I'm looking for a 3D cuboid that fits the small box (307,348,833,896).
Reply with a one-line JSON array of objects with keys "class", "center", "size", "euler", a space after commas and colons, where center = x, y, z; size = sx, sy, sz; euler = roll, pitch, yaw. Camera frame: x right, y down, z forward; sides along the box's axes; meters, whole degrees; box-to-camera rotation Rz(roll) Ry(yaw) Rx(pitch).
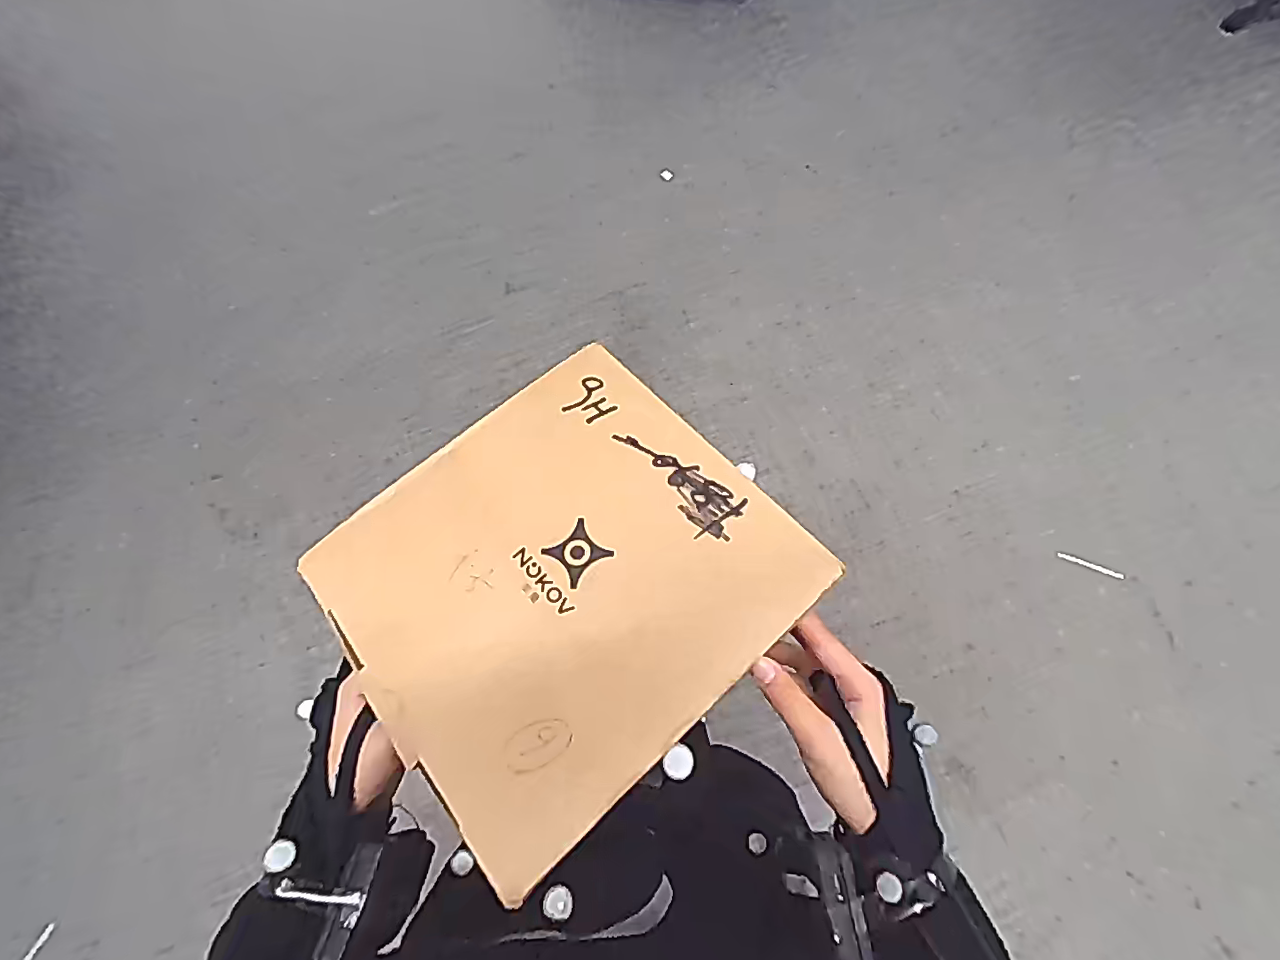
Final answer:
[{"class": "small box", "center": [-0.027, 0.071, 0.303], "size": [0.179, 0.176, 0.168], "euler": [-40, 68, -12]}]
